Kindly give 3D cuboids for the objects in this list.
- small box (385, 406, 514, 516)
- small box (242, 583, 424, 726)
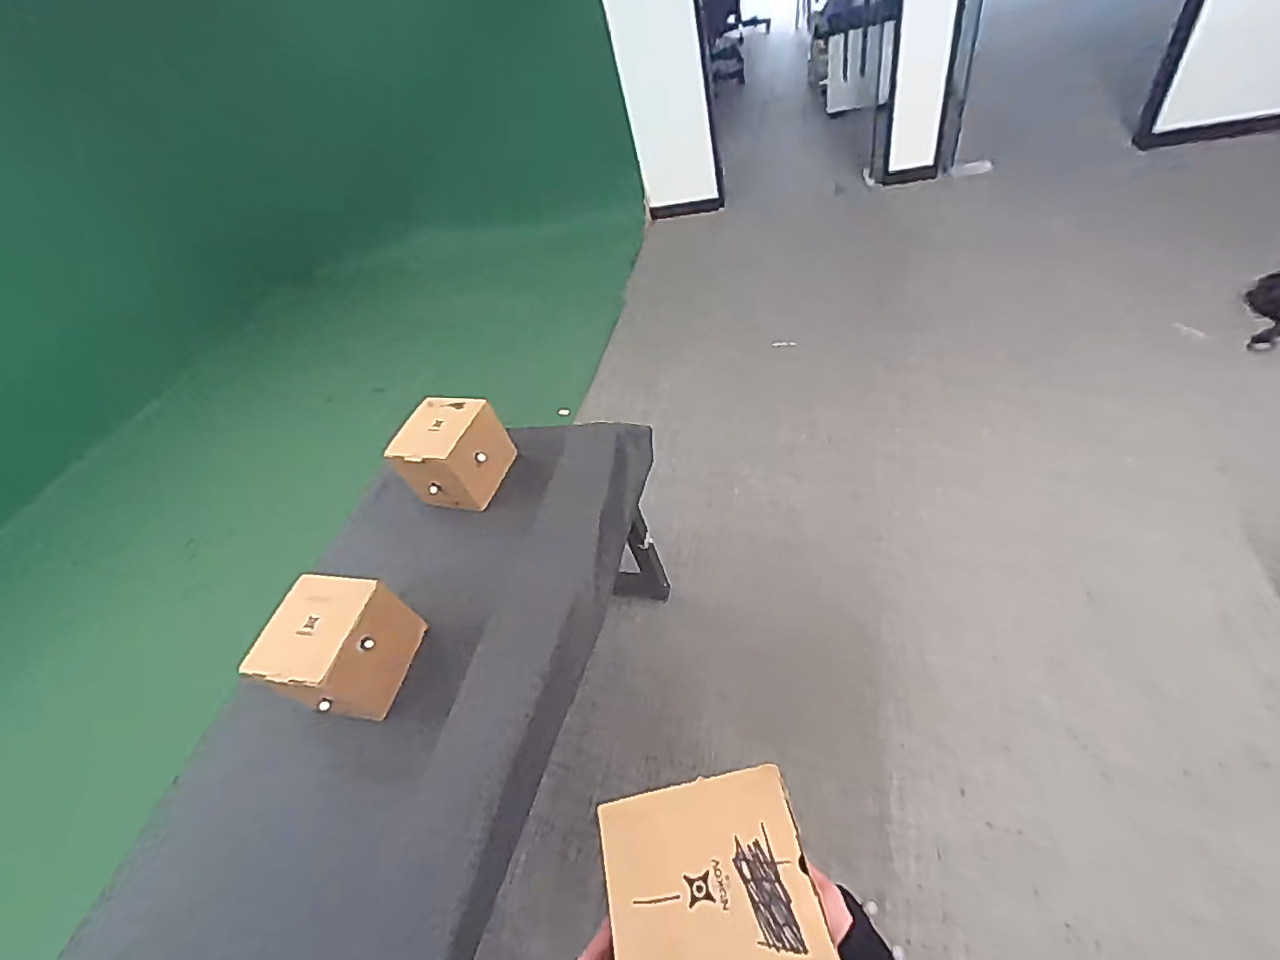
[{"bbox_3d":[-0.401,-0.040,1.176,0.168,0.176,0.179,6,52,22],"label":"small box"},{"bbox_3d":[-0.501,0.296,0.915,0.168,0.176,0.179,1,49,17],"label":"small box"}]
